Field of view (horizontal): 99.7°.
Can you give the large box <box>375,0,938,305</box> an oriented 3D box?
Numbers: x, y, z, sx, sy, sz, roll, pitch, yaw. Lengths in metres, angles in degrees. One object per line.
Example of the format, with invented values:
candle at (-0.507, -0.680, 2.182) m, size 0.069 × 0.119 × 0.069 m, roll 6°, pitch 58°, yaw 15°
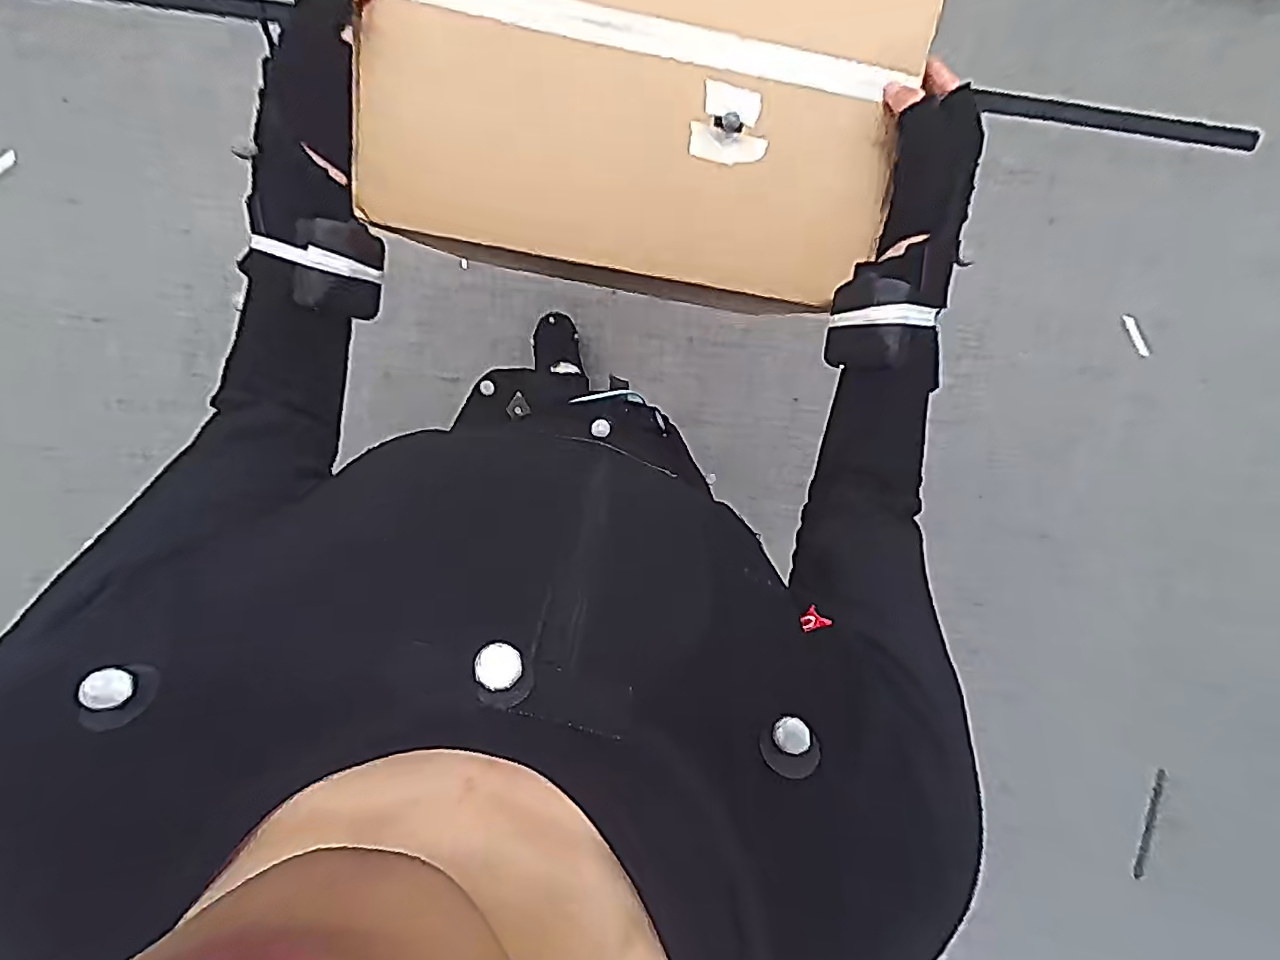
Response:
large box at (0.001, -0.363, 0.535) m, size 0.408 × 0.320 × 0.320 m, roll 8°, pitch 108°, yaw -7°
